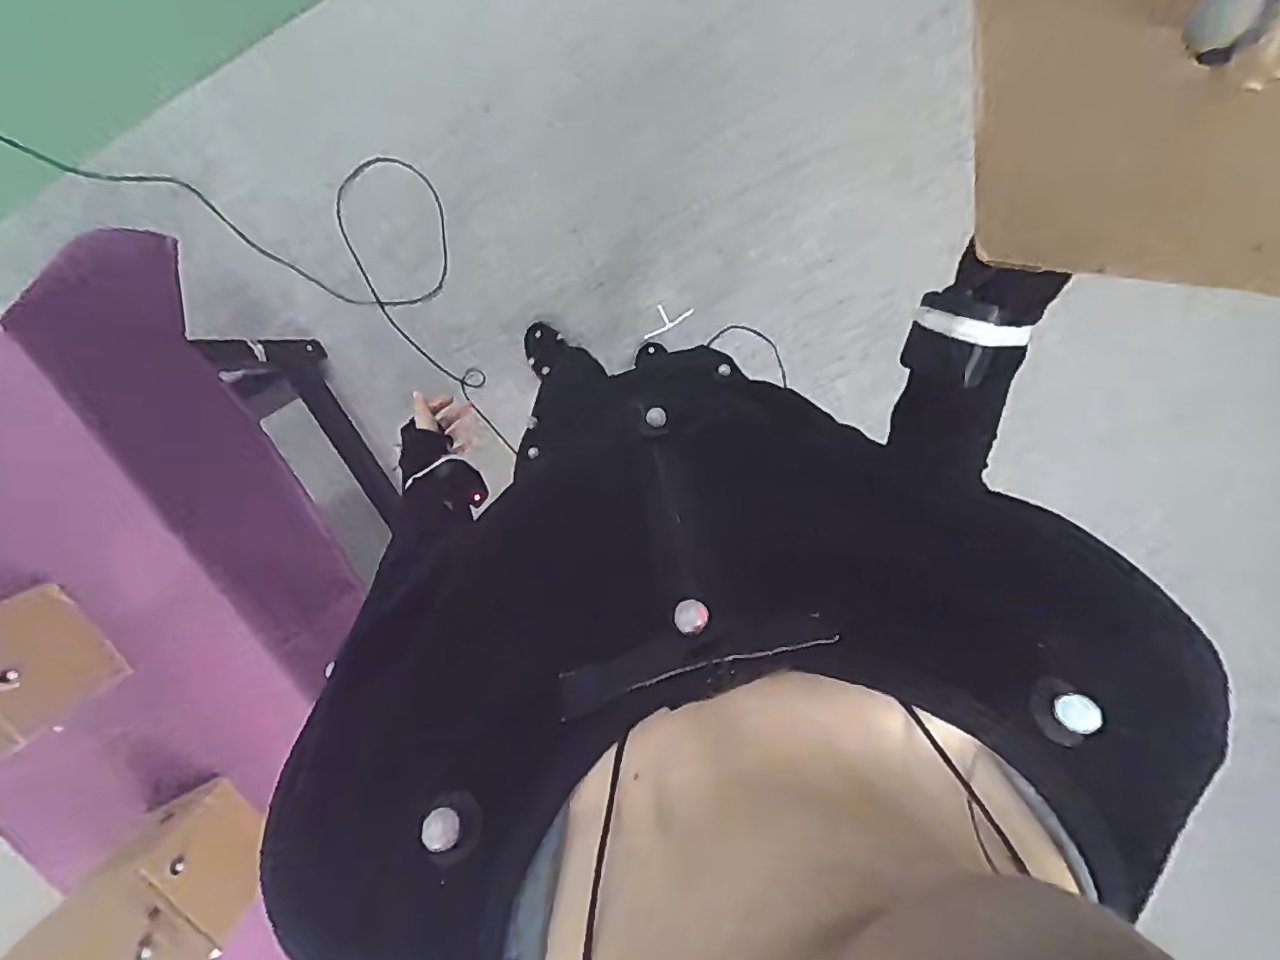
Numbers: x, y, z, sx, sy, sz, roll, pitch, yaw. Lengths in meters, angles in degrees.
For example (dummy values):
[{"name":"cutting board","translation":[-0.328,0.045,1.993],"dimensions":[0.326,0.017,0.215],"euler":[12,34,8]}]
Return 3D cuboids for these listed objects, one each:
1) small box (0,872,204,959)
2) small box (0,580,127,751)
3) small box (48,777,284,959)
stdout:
[{"name":"small box","translation":[-0.709,0.642,0.667],"dimensions":[0.179,0.176,0.168],"euler":[-29,103,7]},{"name":"small box","translation":[-0.880,0.268,0.737],"dimensions":[0.168,0.176,0.179],"euler":[-27,103,5]},{"name":"small box","translation":[-0.702,0.606,0.828],"dimensions":[0.168,0.176,0.179],"euler":[-29,102,7]}]
